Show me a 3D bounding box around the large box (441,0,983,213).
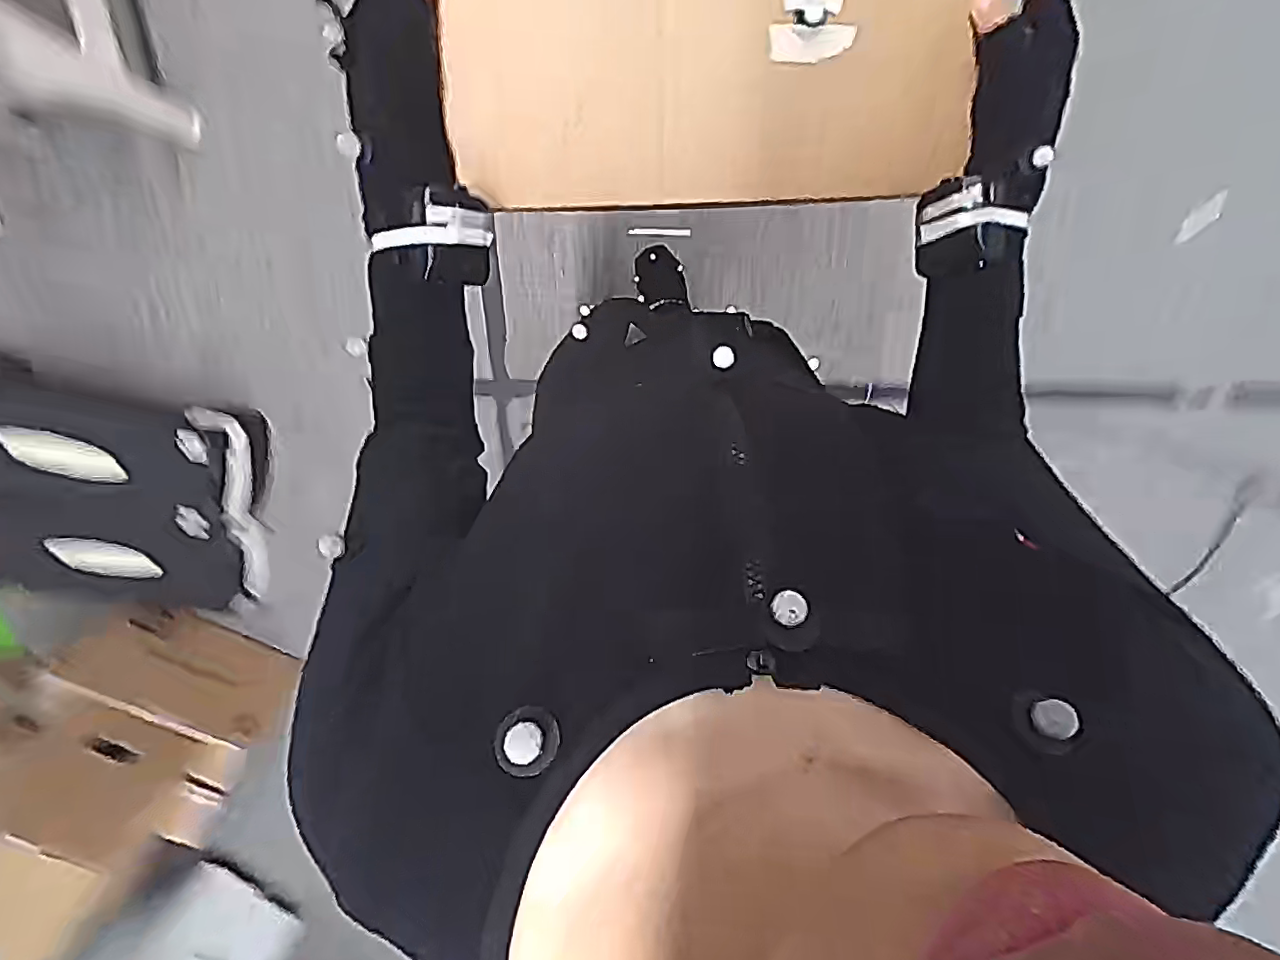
[{"bbox_3d":[0.045,-0.434,0.514,0.408,0.320,0.320,-2,117,-2],"label":"large box"}]
